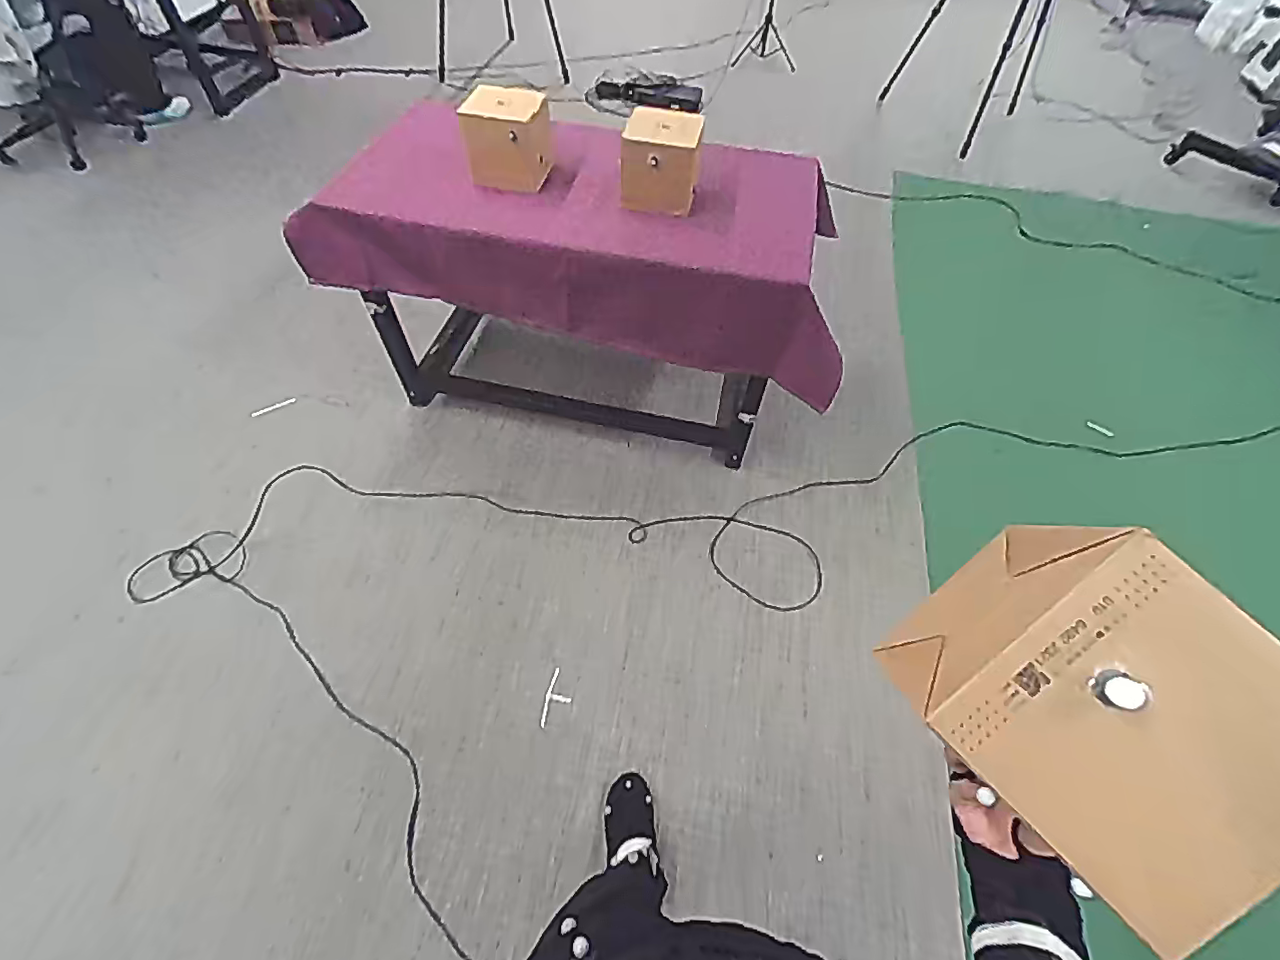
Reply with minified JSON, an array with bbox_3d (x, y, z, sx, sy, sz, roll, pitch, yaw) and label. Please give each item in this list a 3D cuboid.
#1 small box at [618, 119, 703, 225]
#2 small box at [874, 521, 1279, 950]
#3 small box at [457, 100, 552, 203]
[{"bbox_3d":[0.048,-0.754,1.331,0.179,0.176,0.168,11,56,5],"label":"small box"},{"bbox_3d":[0.294,0.143,0.377,0.168,0.179,0.176,-46,77,5],"label":"small box"},{"bbox_3d":[-0.334,-0.831,1.372,0.179,0.176,0.168,10,55,4],"label":"small box"}]
